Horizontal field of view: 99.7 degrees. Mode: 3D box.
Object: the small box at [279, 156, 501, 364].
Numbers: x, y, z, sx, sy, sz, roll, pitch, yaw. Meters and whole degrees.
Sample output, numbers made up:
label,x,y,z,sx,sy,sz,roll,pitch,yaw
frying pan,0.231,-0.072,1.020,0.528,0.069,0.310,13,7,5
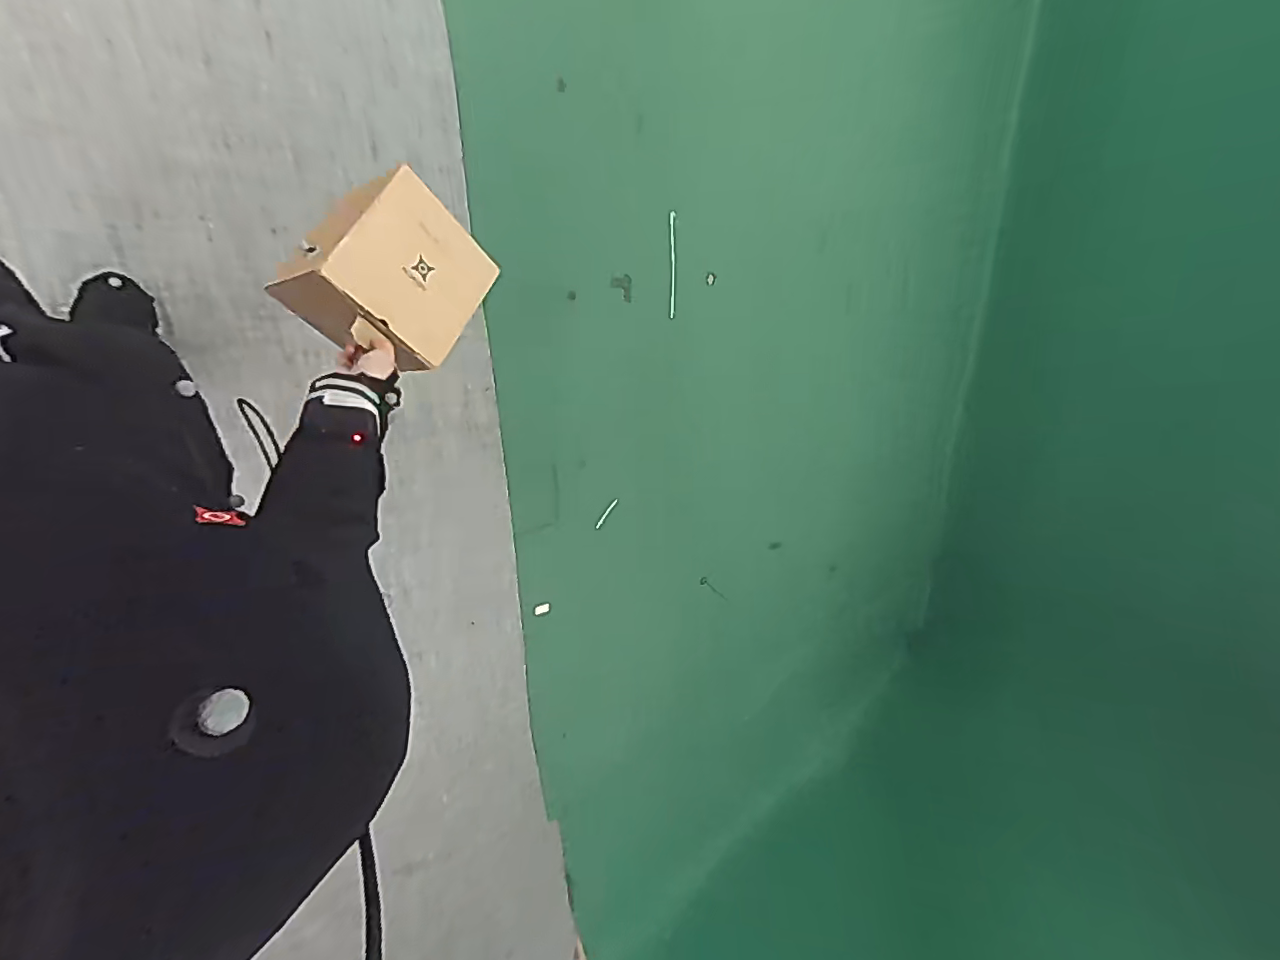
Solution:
label,x,y,z,sx,sy,sz,roll,pitch,yaw
small box,-0.320,-0.263,0.690,0.168,0.176,0.179,44,62,-46
